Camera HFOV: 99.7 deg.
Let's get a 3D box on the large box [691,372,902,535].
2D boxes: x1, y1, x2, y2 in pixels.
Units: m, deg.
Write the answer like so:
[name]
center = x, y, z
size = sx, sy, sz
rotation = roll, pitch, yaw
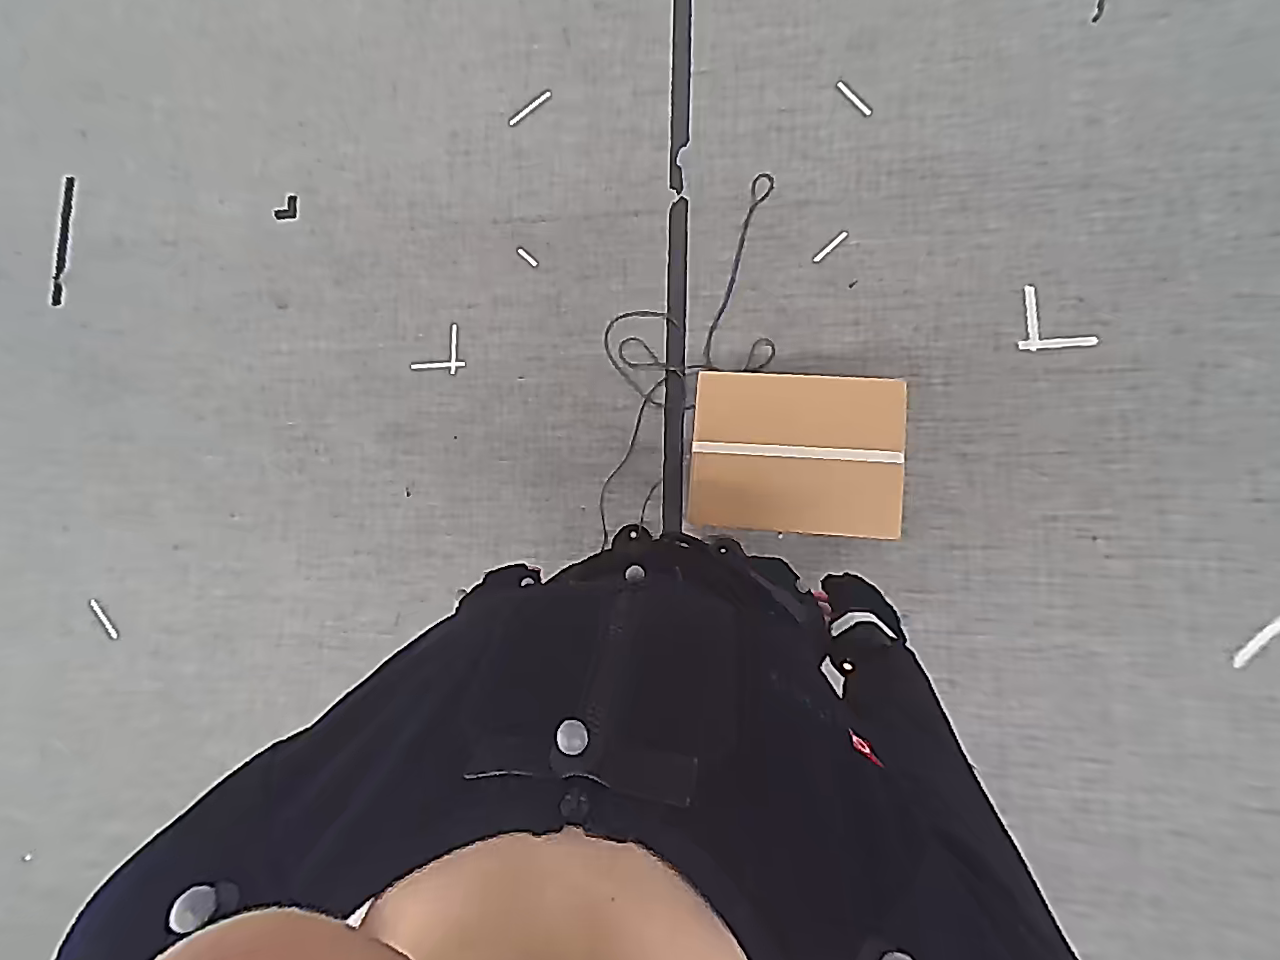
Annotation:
[large box]
center = 0.322, -0.046, 1.217
size = 0.408, 0.320, 0.320
rotation = 4, 87, 7
